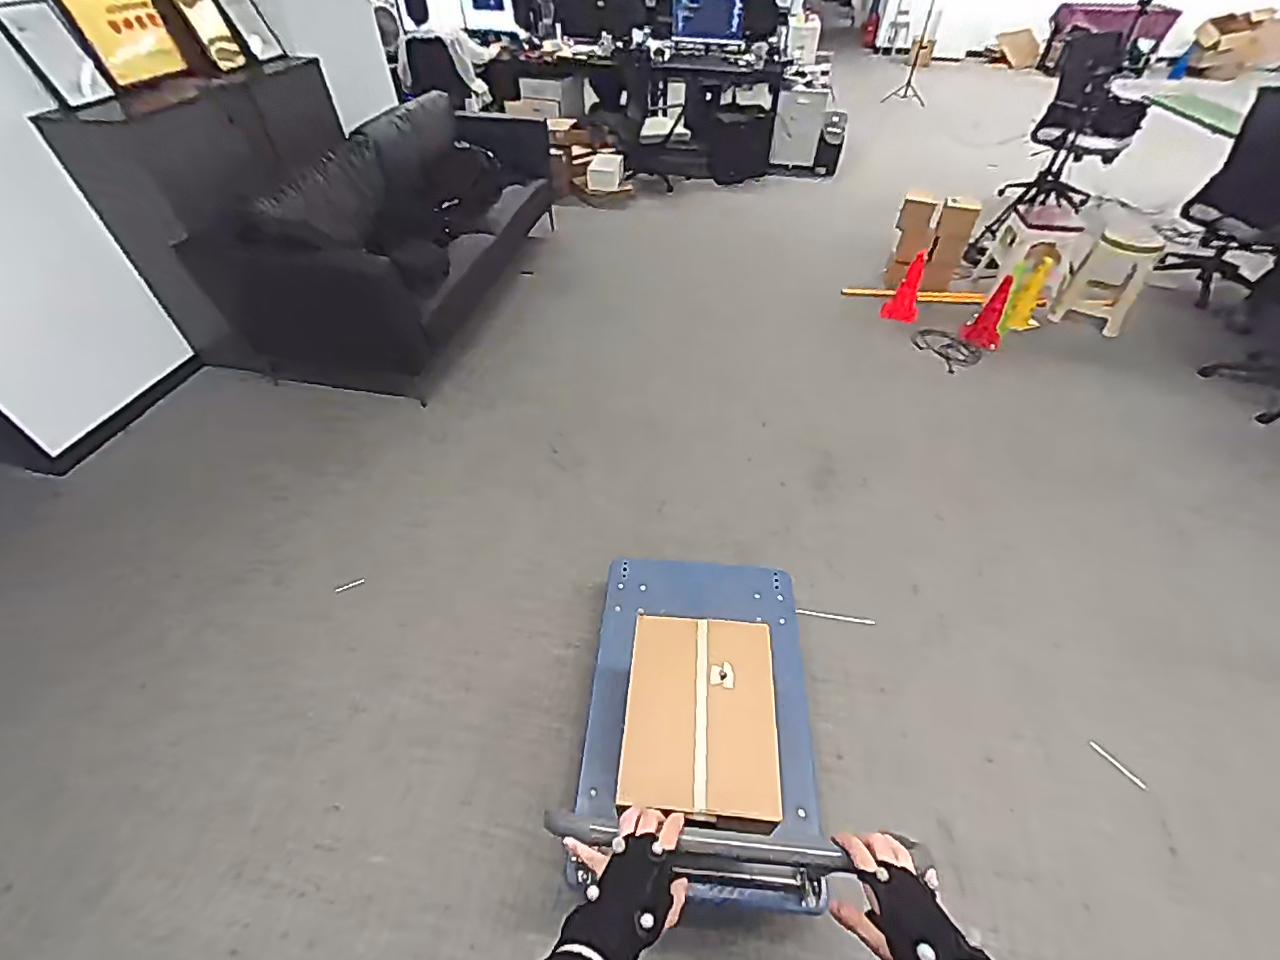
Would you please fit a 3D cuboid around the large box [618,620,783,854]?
[{"bbox_3d":[0.129,0.586,1.247,0.320,0.320,0.408,4,45,4],"label":"large box"}]
